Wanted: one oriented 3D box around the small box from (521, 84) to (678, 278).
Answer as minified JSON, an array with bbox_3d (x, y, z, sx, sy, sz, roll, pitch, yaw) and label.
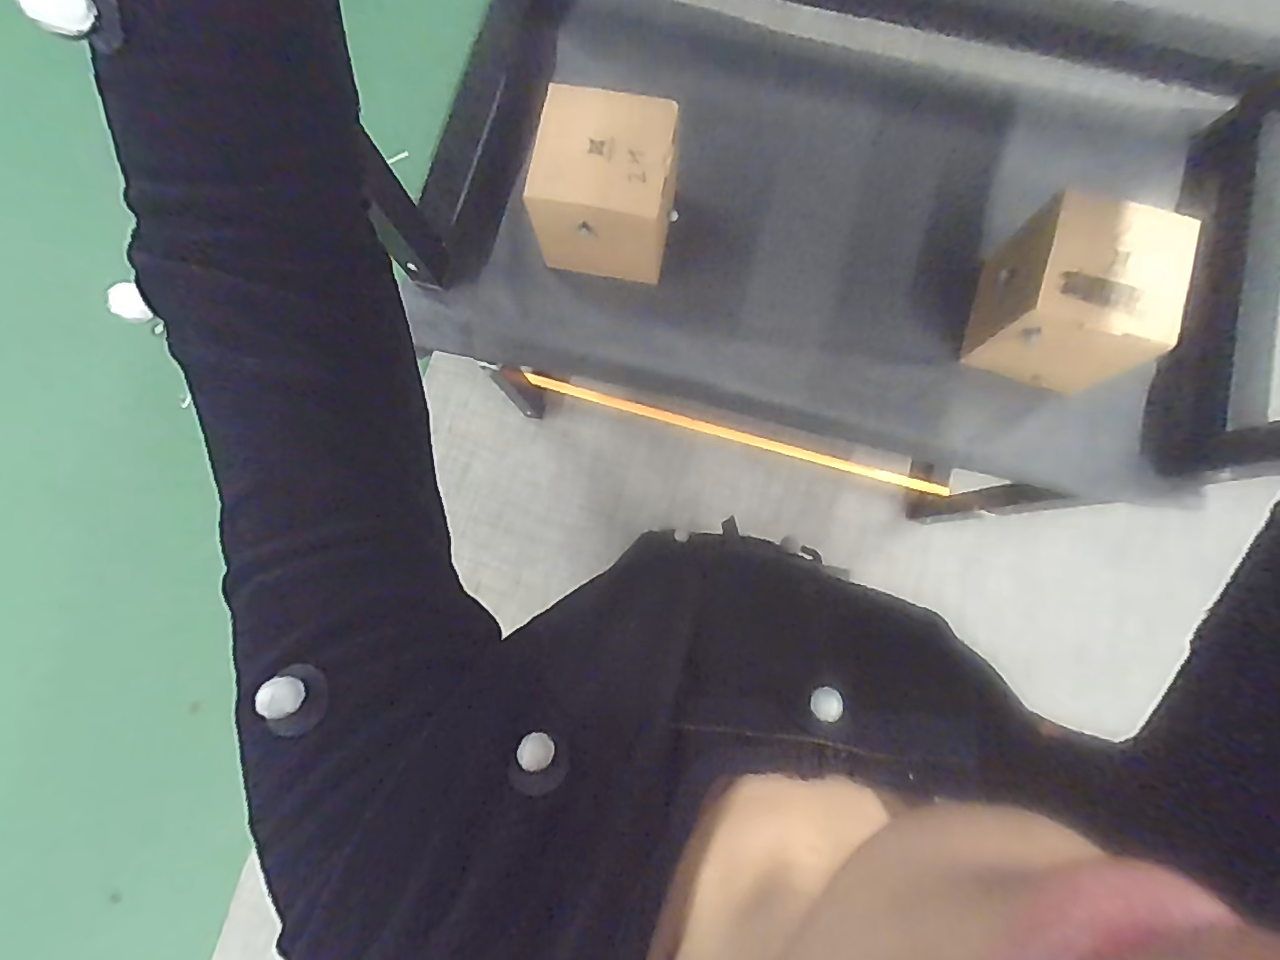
[{"bbox_3d":[-0.050,-0.410,0.768,0.179,0.176,0.168,11,83,2],"label":"small box"}]
